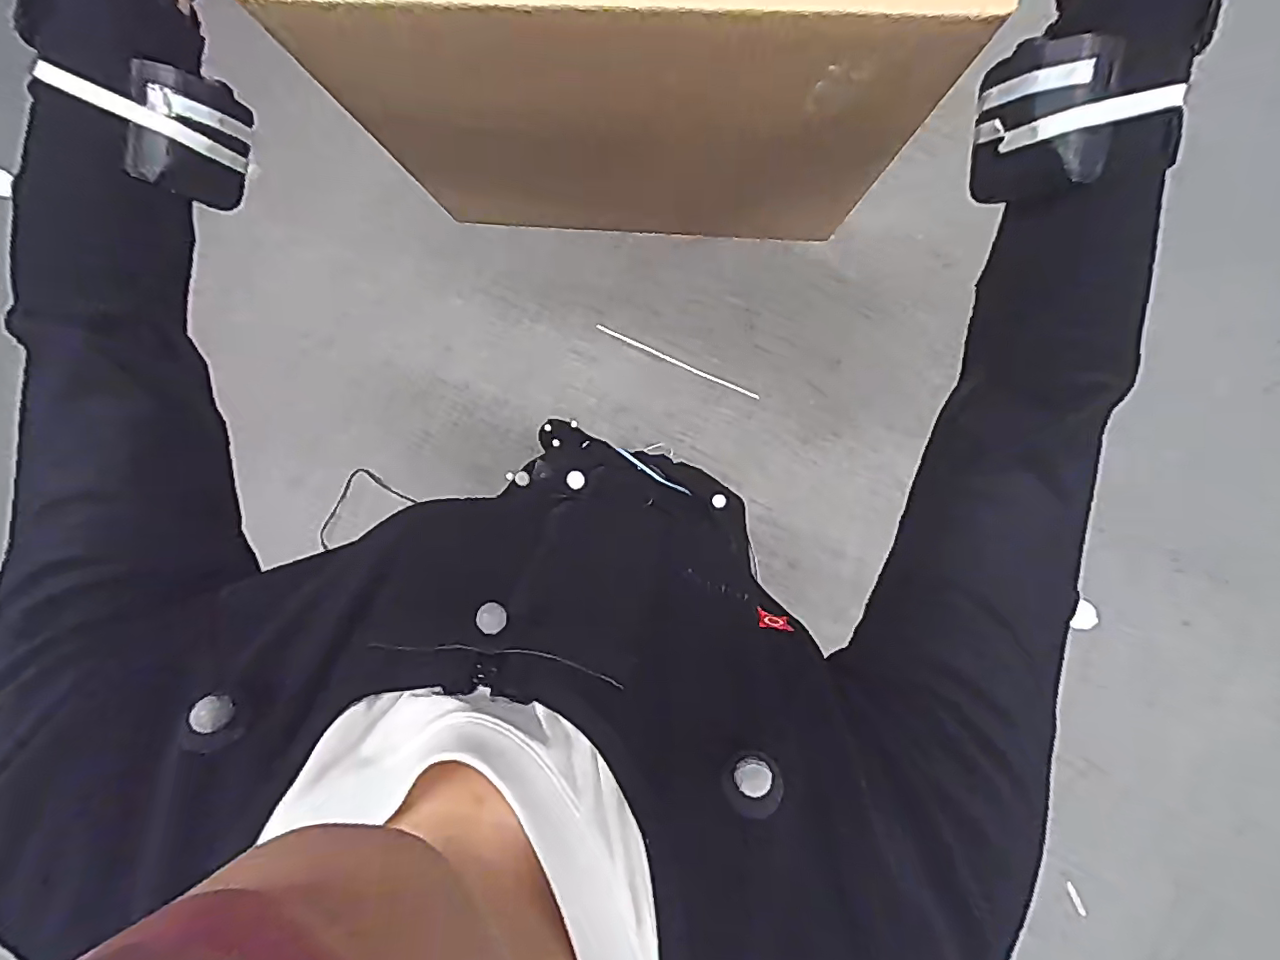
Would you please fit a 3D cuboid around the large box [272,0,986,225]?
[{"bbox_3d":[-0.003,-0.417,0.422,0.408,0.320,0.320,3,95,2],"label":"large box"}]
